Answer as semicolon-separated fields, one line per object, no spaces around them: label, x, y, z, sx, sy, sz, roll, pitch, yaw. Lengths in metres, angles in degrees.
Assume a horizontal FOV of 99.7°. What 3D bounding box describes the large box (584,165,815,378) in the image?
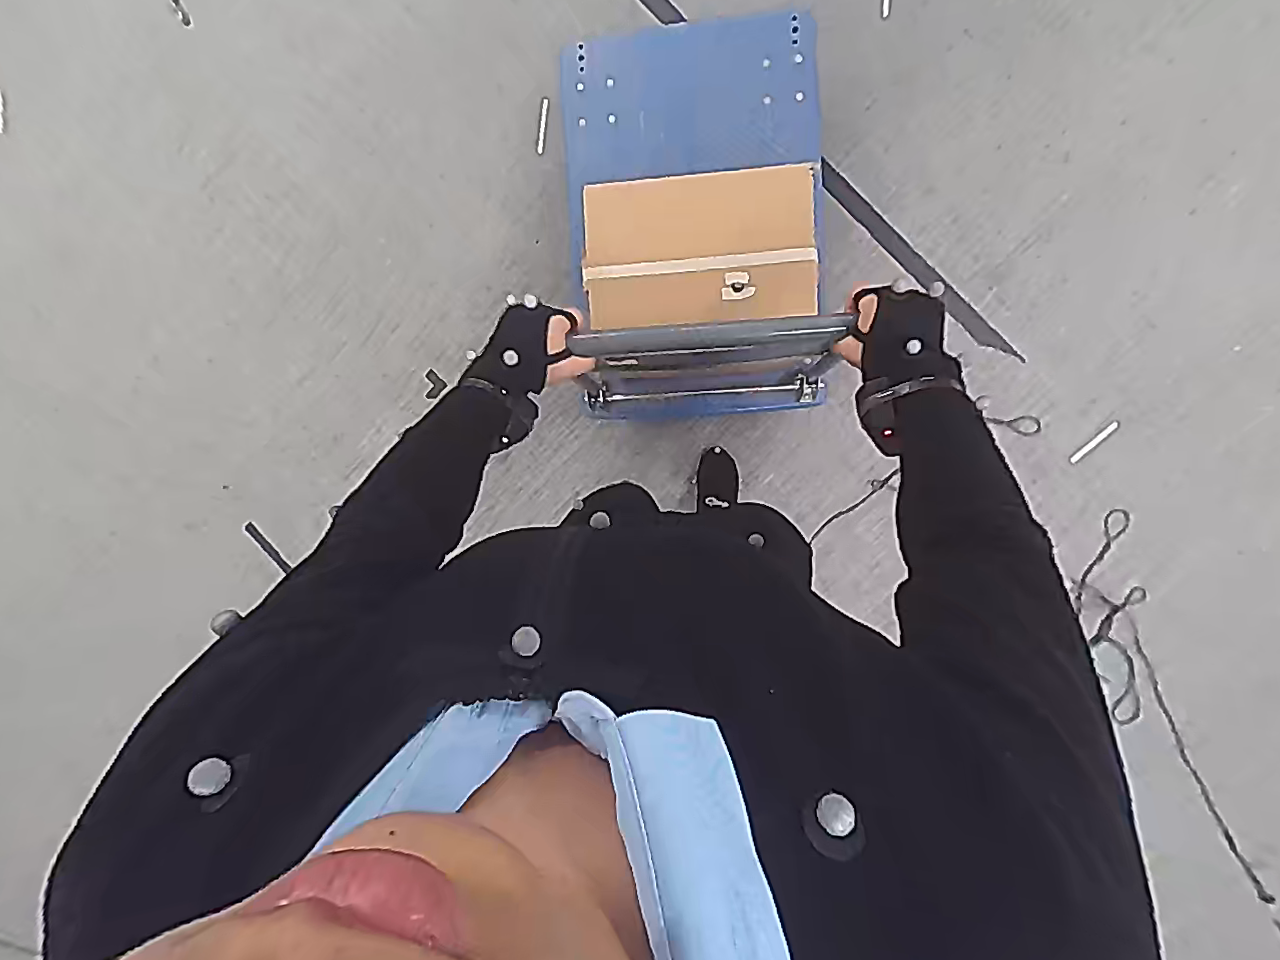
large box;0.116;-0.395;1.114;0.408;0.320;0.320;-3;94;5
